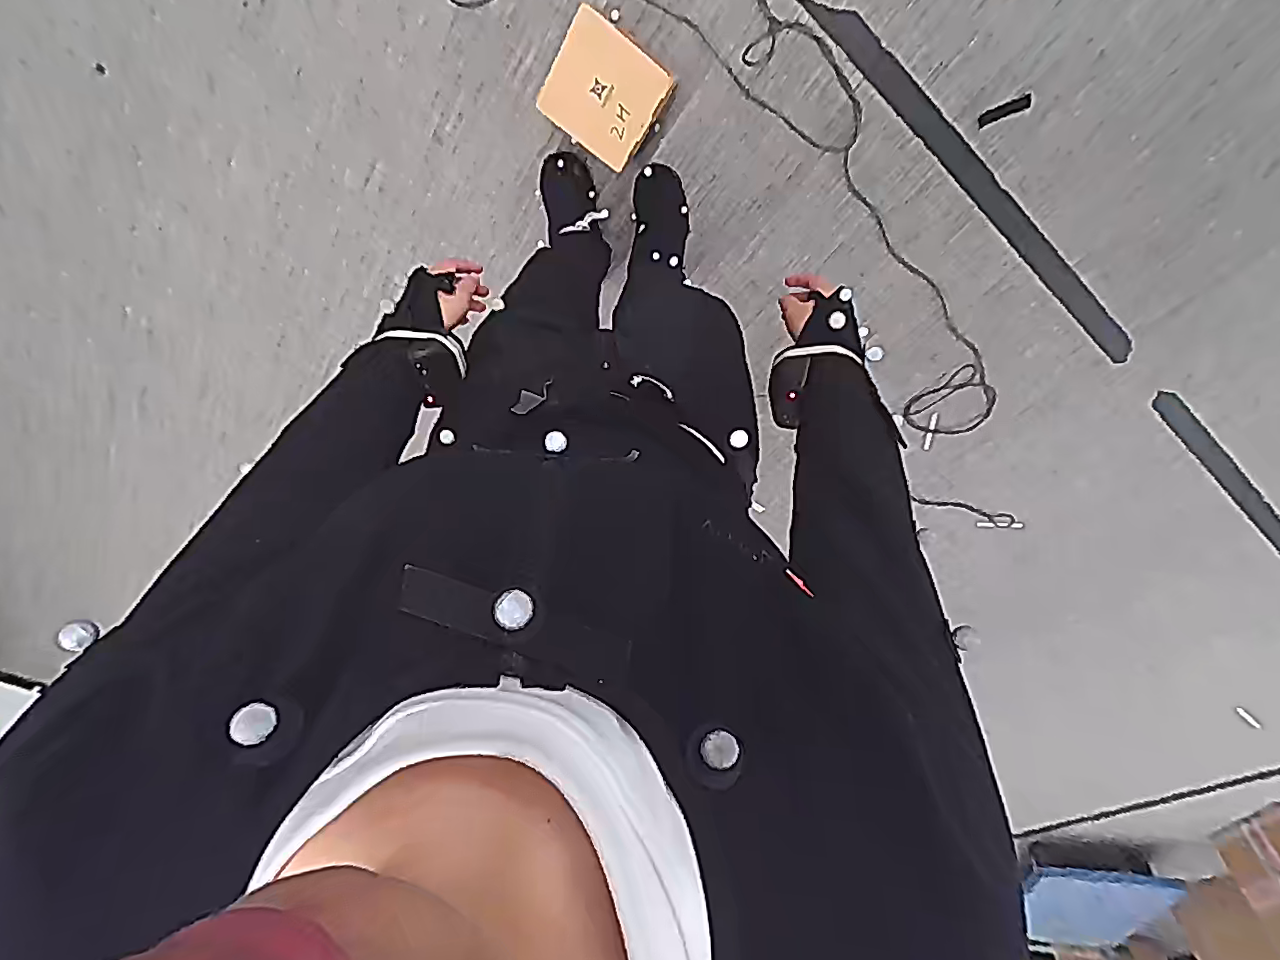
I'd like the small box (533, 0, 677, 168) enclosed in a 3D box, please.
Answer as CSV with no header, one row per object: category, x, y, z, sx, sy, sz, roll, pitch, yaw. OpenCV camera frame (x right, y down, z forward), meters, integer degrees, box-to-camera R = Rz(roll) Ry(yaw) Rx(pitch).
small box,-0.054,-0.681,0.936,0.179,0.176,0.168,32,125,-16

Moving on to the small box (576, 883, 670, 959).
small box,-0.040,1.090,1.287,0.168,0.176,0.179,31,126,-14
